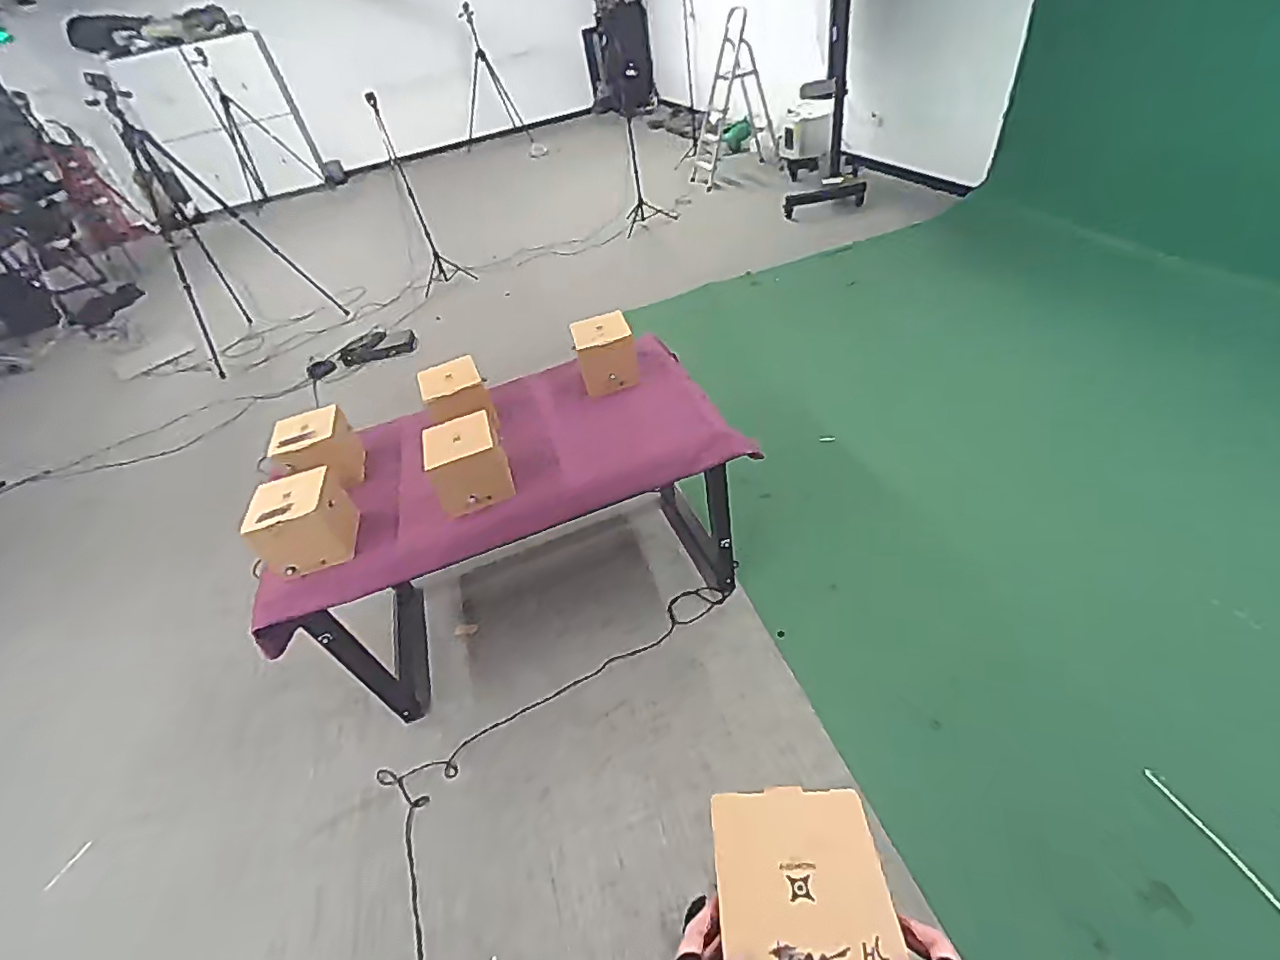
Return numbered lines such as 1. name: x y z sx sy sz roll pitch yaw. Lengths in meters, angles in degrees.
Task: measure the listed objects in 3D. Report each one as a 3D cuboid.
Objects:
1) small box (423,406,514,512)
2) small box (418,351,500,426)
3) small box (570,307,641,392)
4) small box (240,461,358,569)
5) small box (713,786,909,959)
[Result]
1. small box: -0.427 -0.051 1.352 0.168 0.176 0.179 -20 43 -7
2. small box: -0.527 -0.244 1.576 0.168 0.176 0.179 -23 45 -12
3. small box: -0.104 -0.393 1.634 0.168 0.176 0.179 -16 44 -3
4. small box: -0.794 0.090 1.282 0.168 0.176 0.179 -17 42 -6
5. small box: 0.168 0.462 0.581 0.168 0.176 0.179 -5 33 5
